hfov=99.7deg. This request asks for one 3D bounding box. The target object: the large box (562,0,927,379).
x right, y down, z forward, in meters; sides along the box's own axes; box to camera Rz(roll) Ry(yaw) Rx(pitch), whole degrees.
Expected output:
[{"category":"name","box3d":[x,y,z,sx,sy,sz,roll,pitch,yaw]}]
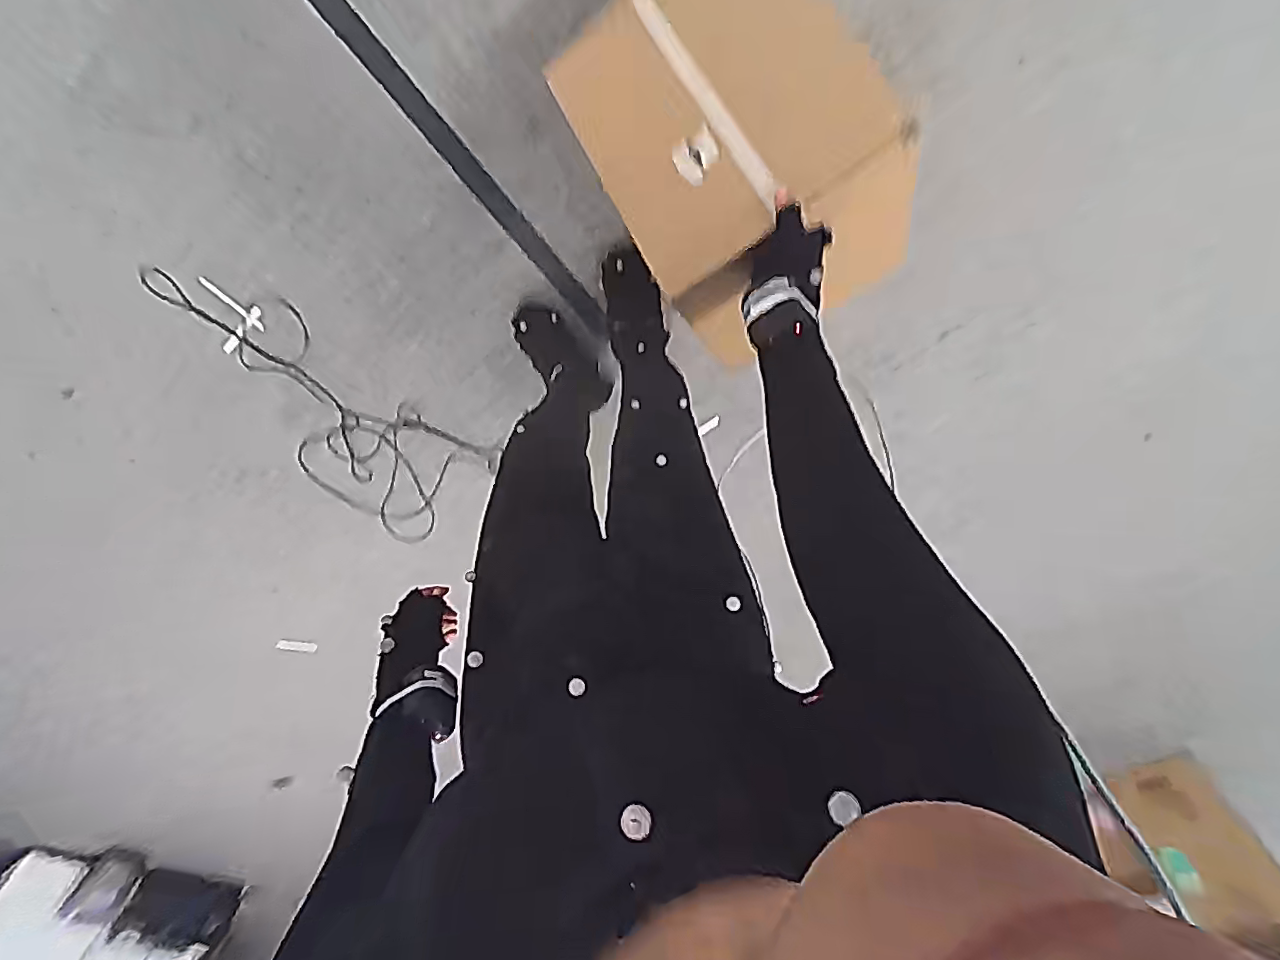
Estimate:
[{"category":"large box","box3d":[0.152,-0.429,0.809,0.320,0.408,0.320,-31,164,17]}]
